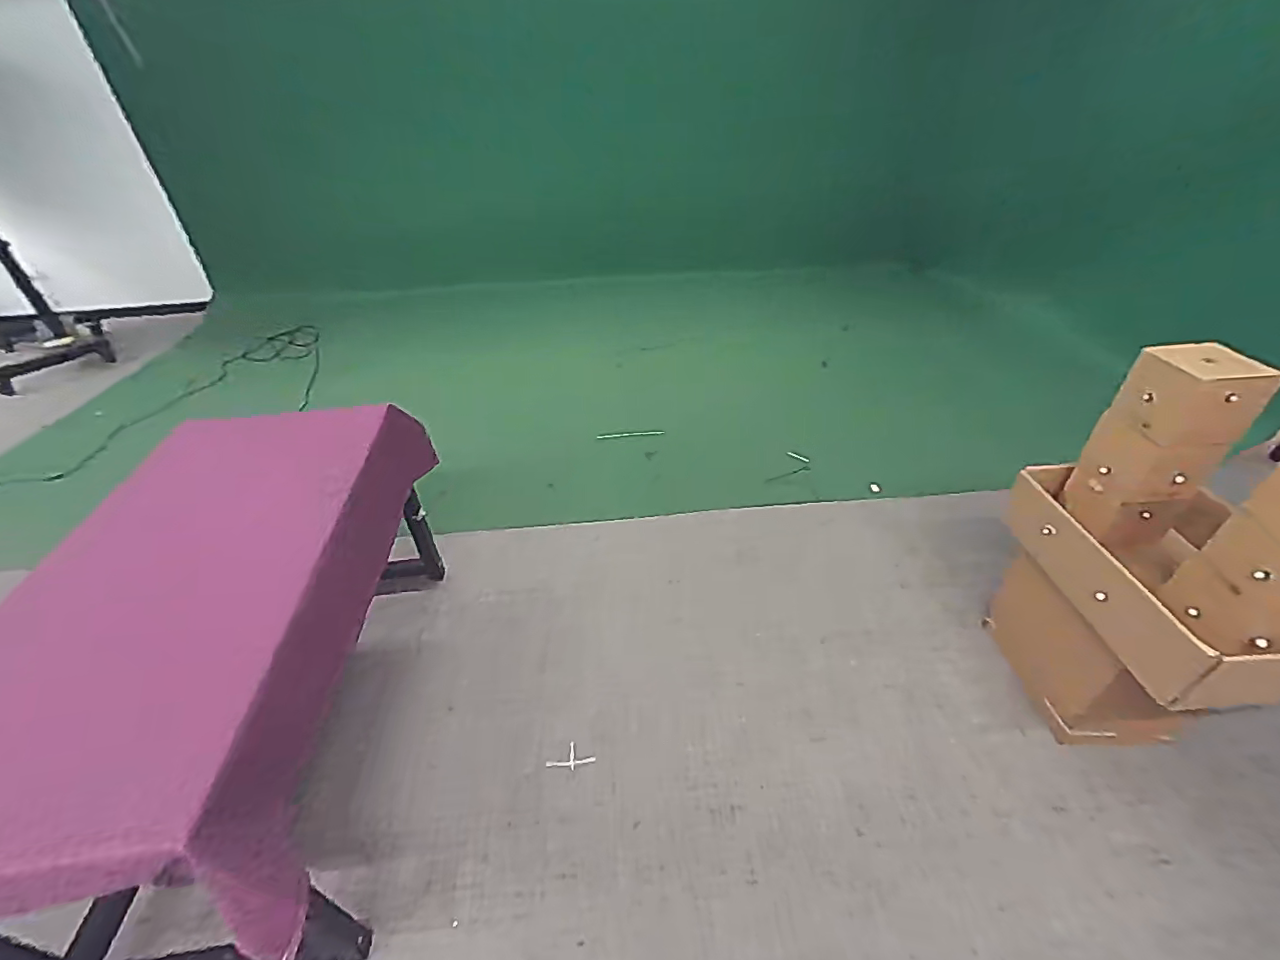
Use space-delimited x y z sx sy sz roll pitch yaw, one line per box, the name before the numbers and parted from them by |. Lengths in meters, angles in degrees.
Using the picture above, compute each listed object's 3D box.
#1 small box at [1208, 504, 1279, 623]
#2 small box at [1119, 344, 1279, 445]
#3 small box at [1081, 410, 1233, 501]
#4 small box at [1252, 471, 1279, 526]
small box | 1.255 0.160 1.027 0.179 0.176 0.168 0 39 4
small box | 1.239 -0.191 1.216 0.179 0.176 0.168 -4 37 0
small box | 1.244 -0.061 1.320 0.168 0.176 0.179 -5 38 -2
small box | 1.244 0.034 0.925 0.168 0.176 0.179 -4 39 0
